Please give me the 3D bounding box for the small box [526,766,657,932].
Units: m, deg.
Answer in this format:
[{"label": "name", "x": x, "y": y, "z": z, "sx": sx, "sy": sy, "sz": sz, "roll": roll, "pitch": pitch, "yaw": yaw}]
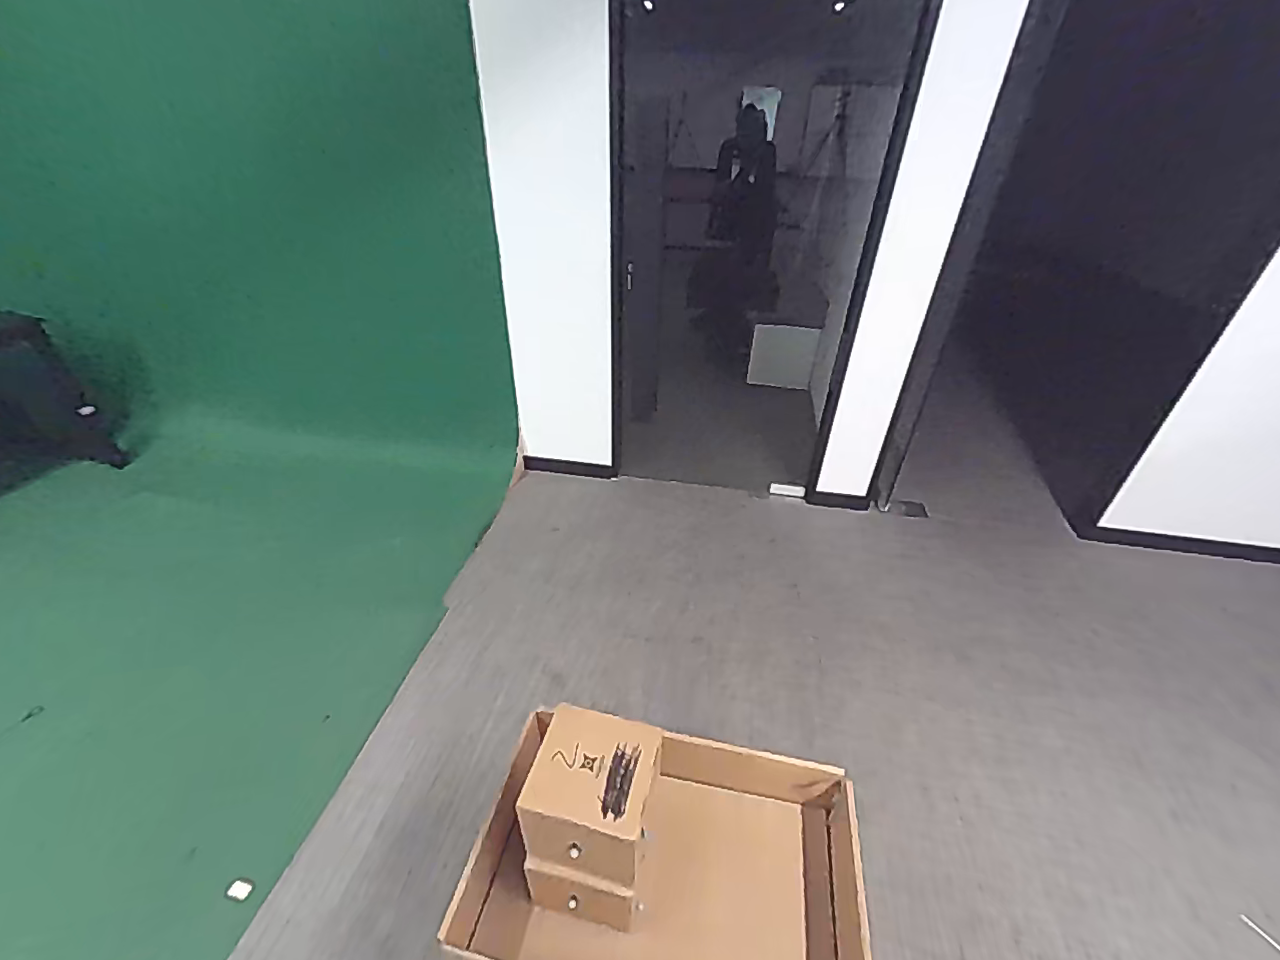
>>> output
[{"label": "small box", "x": -0.075, "y": 0.626, "z": 0.918, "sx": 0.179, "sy": 0.176, "sz": 0.168, "roll": 9, "pitch": 35, "yaw": 10}]
